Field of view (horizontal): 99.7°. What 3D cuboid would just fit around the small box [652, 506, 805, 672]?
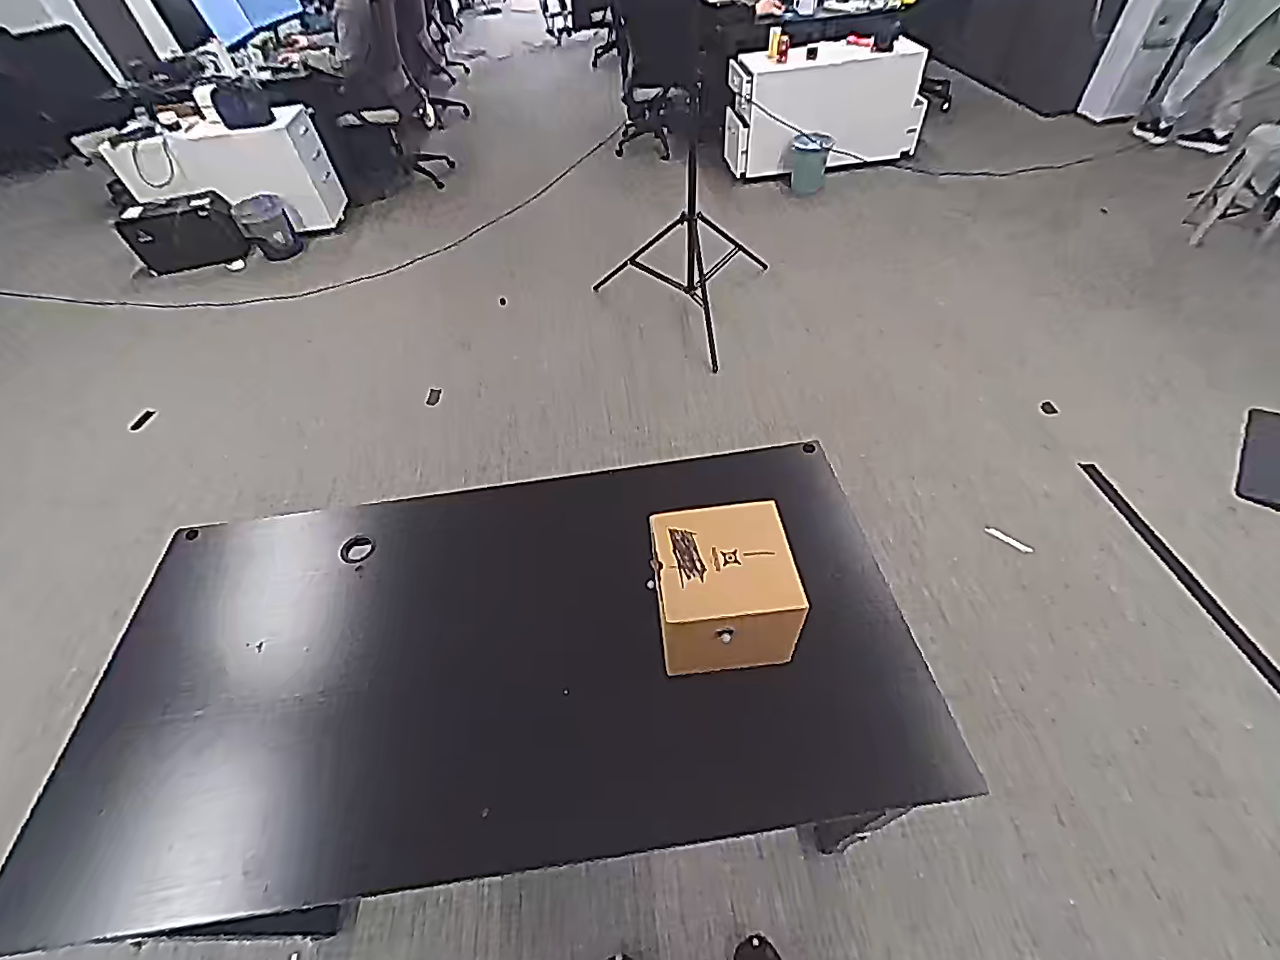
[{"bbox_3d":[0.116,0.158,0.767,0.179,0.176,0.168,-6,49,-1],"label":"small box"}]
